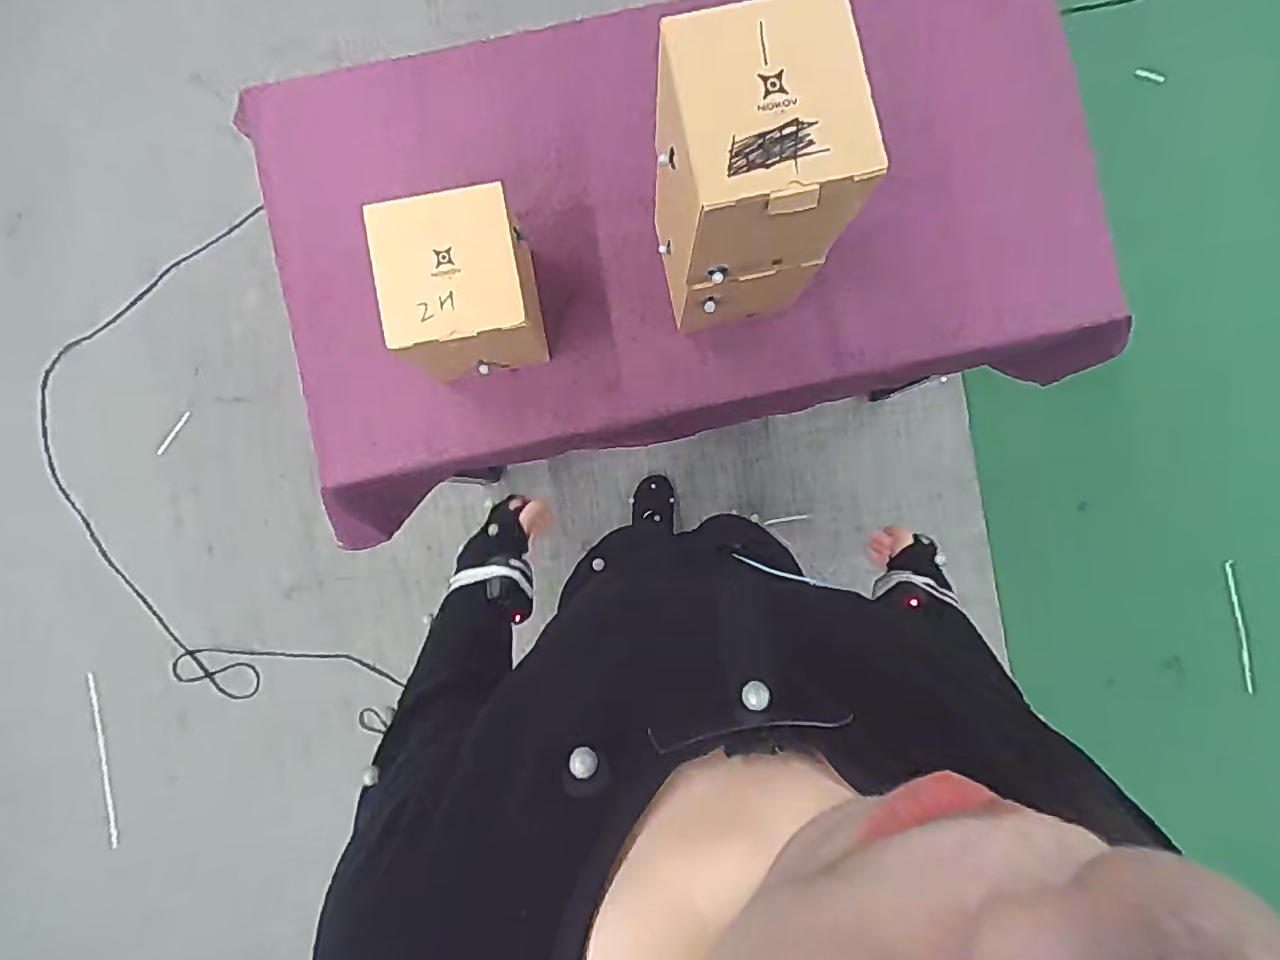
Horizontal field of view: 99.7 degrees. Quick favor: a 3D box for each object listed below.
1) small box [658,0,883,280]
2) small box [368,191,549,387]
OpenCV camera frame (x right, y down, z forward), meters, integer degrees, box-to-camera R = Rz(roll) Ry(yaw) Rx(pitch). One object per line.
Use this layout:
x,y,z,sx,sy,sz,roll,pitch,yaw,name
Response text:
0.114,-0.323,0.547,0.168,0.176,0.179,-12,86,-1,small box
-0.224,-0.237,0.708,0.168,0.176,0.179,-11,87,0,small box
